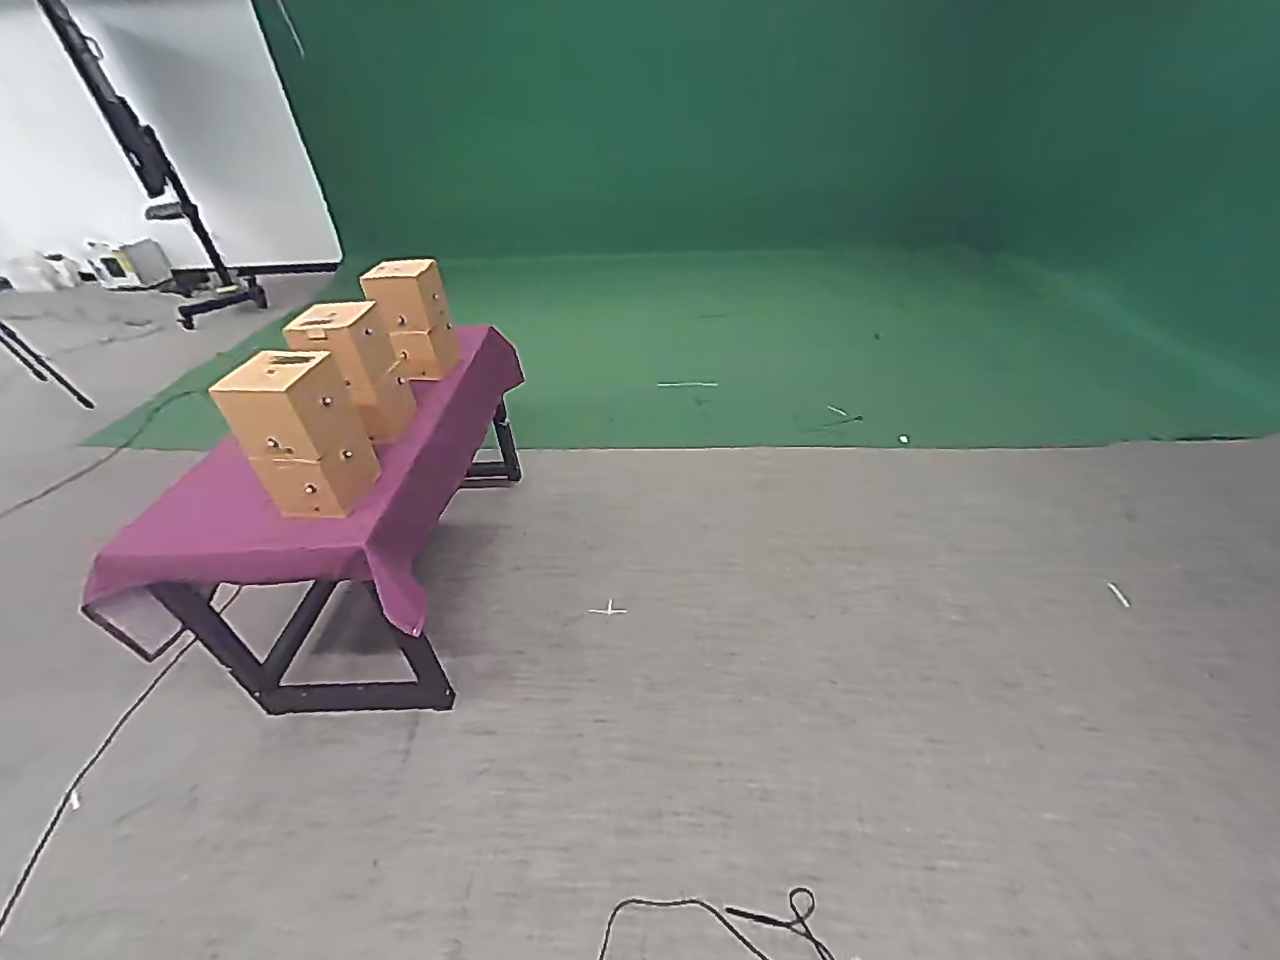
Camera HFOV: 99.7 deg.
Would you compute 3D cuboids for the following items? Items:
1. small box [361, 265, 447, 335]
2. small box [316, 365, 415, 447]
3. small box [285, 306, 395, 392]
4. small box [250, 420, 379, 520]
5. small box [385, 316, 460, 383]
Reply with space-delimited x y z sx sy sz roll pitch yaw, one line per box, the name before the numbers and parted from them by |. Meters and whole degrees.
small box | -0.728 -0.563 1.696 0.179 0.176 0.168 0 37 5
small box | -0.750 -0.207 1.506 0.168 0.176 0.179 -1 38 5
small box | -0.766 -0.338 1.406 0.168 0.176 0.179 -2 37 3
small box | -0.747 -0.023 1.269 0.168 0.176 0.179 3 38 8
small box | -0.718 -0.431 1.794 0.168 0.176 0.179 2 38 8
